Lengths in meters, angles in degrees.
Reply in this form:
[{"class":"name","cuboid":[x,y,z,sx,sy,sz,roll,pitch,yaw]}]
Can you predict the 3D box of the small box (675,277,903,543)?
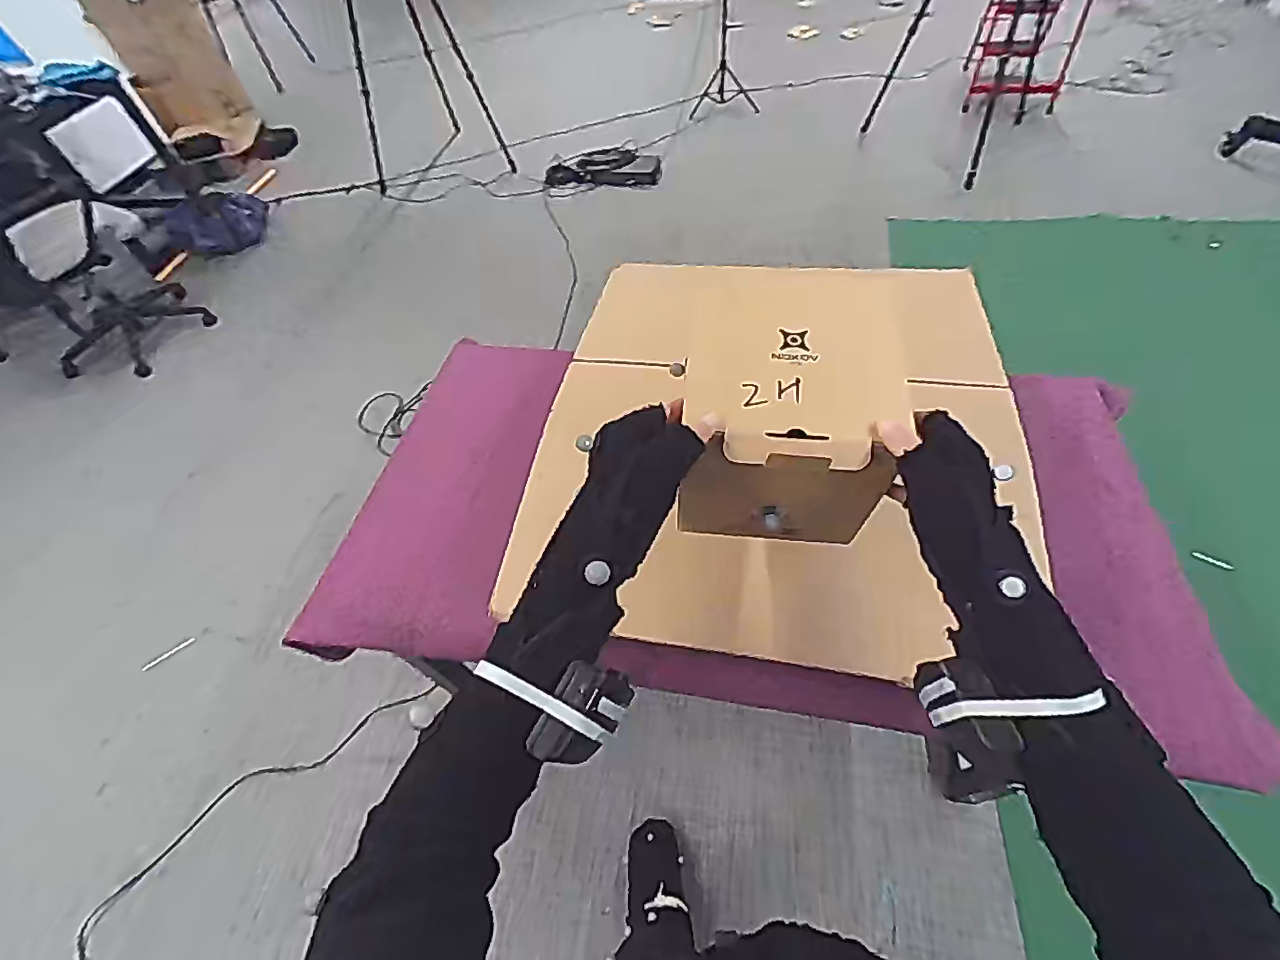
[{"class":"small box","cuboid":[0.121,-0.061,0.504,0.168,0.176,0.179,4,59,6]}]
